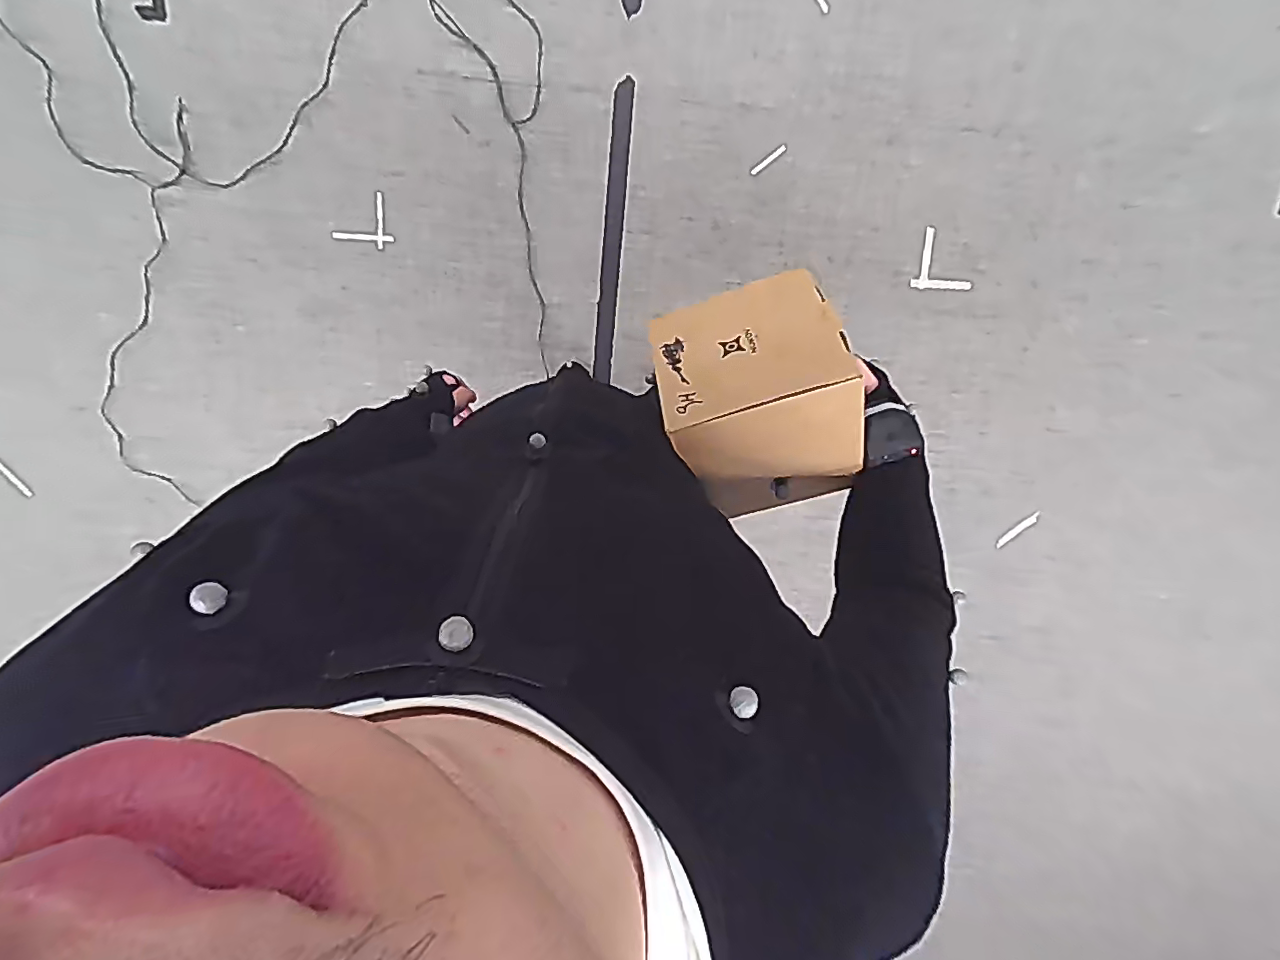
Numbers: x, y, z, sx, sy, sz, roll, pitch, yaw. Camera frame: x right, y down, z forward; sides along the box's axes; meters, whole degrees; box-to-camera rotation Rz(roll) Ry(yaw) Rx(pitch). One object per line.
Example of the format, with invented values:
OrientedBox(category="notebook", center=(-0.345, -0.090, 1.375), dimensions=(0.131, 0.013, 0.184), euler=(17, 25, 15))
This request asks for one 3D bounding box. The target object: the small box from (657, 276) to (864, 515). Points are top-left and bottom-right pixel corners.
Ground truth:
OrientedBox(category="small box", center=(0.130, -0.085, 0.596), dimensions=(0.179, 0.168, 0.176), euler=(-15, 141, 11))
